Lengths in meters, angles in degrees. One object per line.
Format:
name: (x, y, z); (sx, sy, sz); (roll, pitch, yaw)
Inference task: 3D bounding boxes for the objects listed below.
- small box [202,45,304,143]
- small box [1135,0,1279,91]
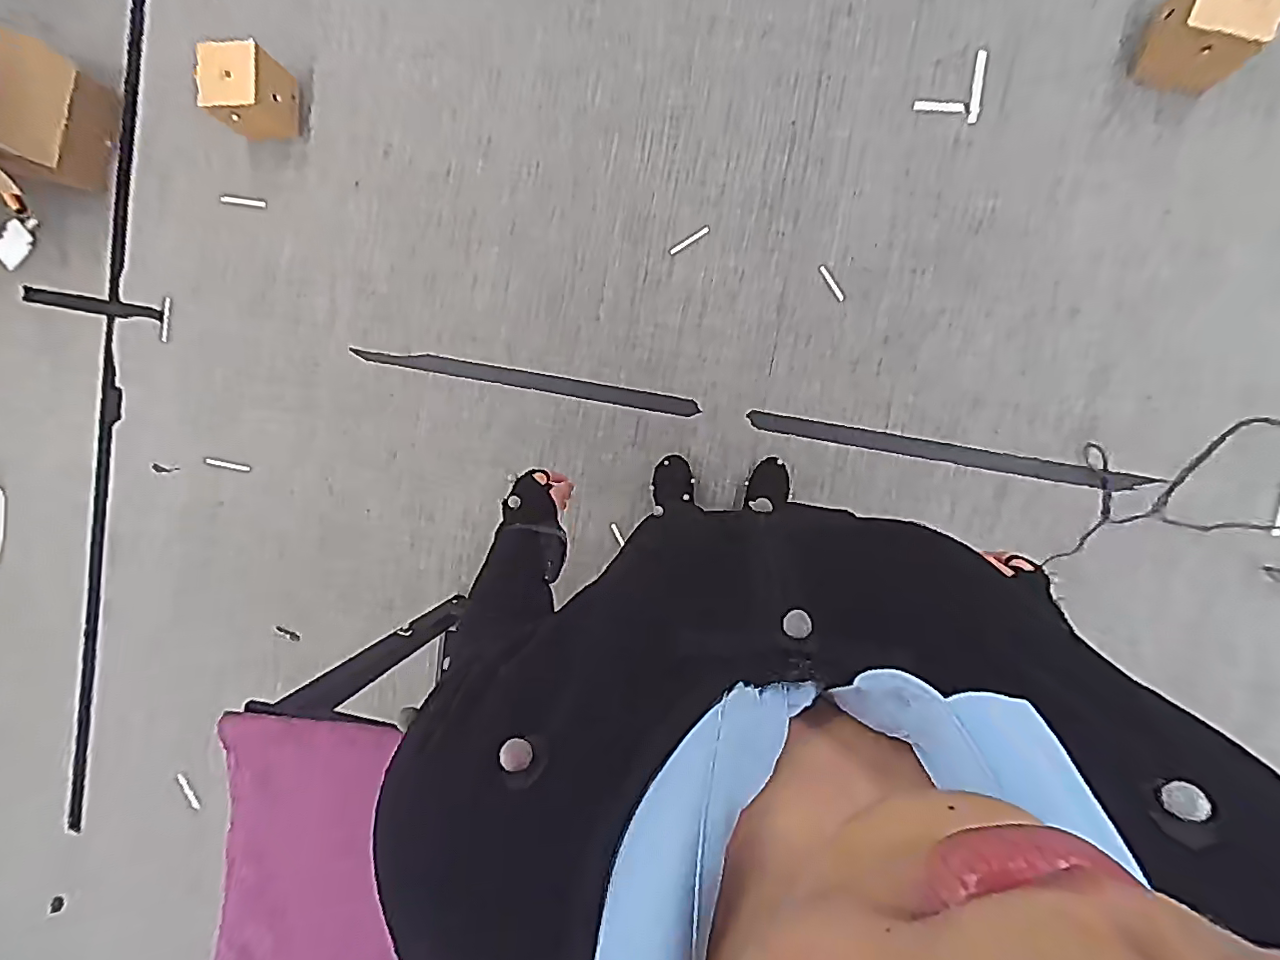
small box: (-1.088, -1.086, 1.533); (0.179, 0.176, 0.168); (3, 93, 8)
small box: (1.286, -1.021, 1.216); (0.179, 0.176, 0.168); (19, 96, 6)
